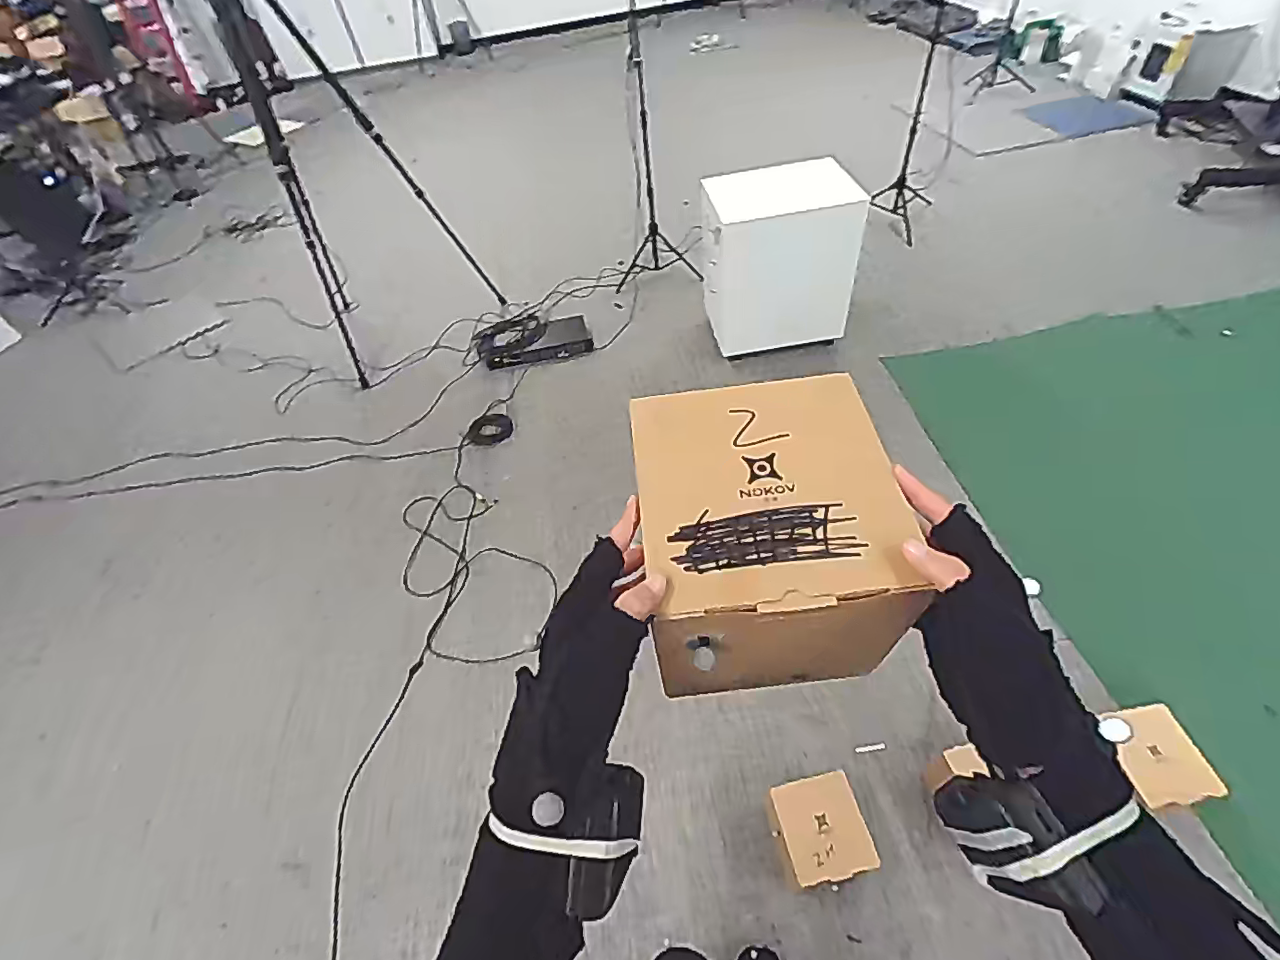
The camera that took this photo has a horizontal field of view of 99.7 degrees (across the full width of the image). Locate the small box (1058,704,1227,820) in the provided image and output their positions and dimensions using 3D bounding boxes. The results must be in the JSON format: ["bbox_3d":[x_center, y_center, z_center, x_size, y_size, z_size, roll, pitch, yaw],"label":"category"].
[{"bbox_3d":[1.068,0.612,1.171,0.168,0.176,0.179,-10,50,0],"label":"small box"}]

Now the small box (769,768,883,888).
[{"bbox_3d":[0.381,0.742,1.150,0.168,0.176,0.179,-13,50,-2],"label":"small box"}]

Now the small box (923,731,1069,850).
[{"bbox_3d":[0.750,0.672,1.162,0.168,0.176,0.179,-14,49,-4],"label":"small box"}]
